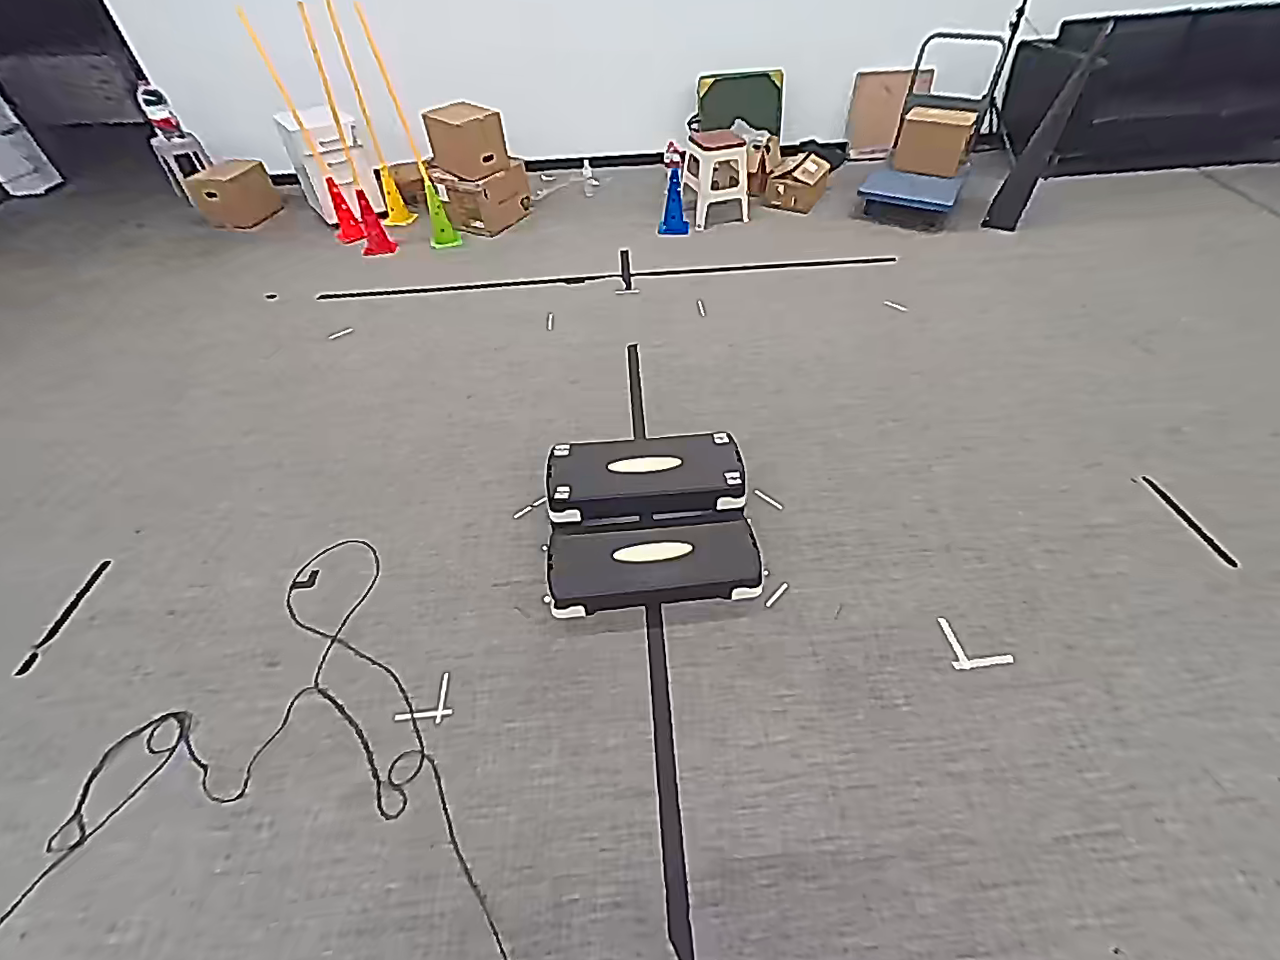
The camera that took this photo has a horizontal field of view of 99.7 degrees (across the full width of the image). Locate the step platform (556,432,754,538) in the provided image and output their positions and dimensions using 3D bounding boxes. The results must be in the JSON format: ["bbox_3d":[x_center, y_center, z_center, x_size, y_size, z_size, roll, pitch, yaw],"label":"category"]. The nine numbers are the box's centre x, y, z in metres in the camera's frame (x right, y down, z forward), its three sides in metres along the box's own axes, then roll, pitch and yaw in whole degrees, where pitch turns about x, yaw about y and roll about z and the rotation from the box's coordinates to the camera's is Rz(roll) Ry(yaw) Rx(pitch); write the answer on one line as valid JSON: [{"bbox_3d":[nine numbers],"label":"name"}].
[{"bbox_3d":[0.049,0.008,1.902,0.684,0.204,0.286,-5,47,-3],"label":"step platform"}]
